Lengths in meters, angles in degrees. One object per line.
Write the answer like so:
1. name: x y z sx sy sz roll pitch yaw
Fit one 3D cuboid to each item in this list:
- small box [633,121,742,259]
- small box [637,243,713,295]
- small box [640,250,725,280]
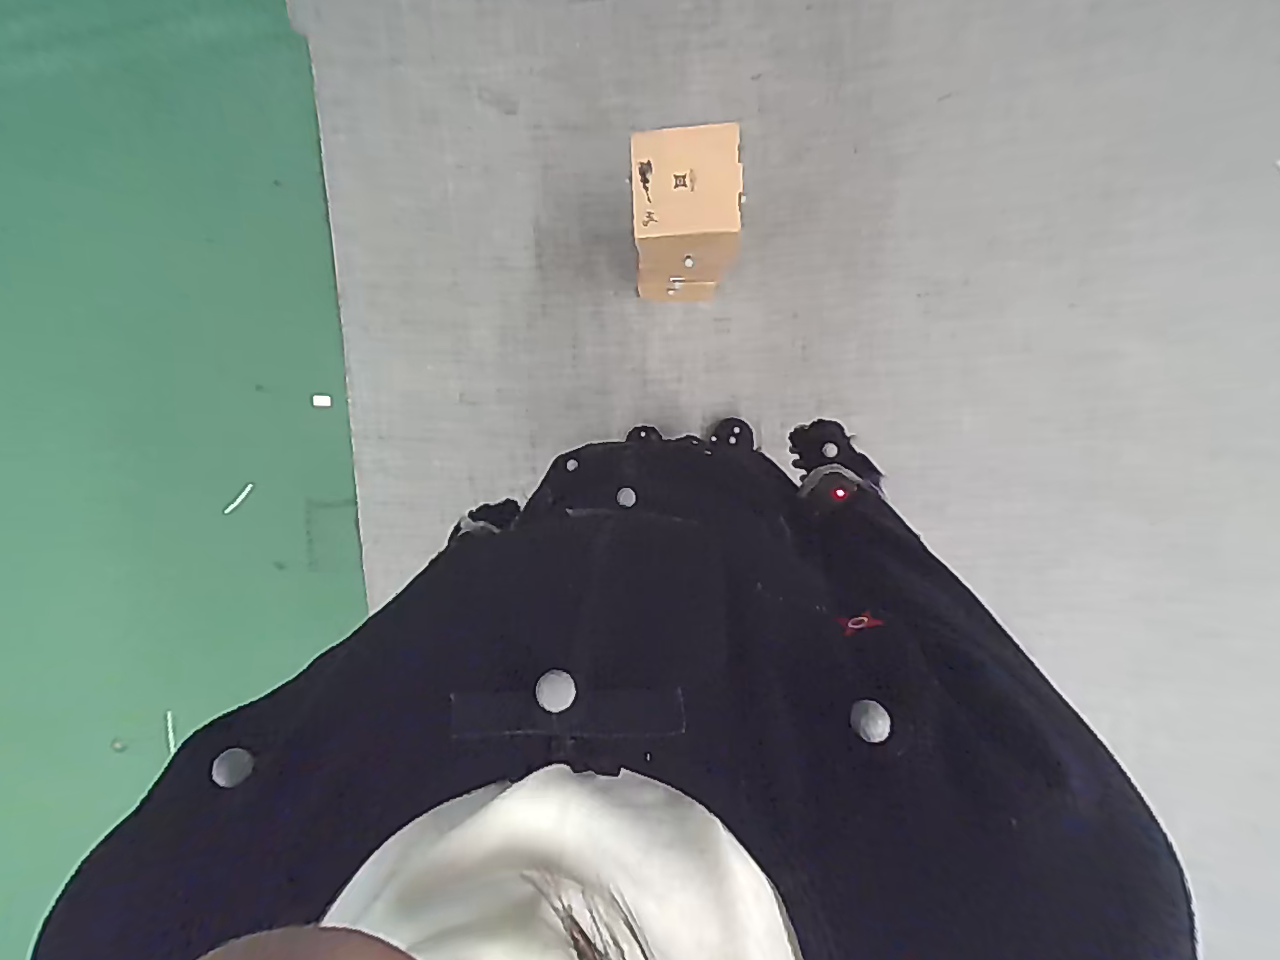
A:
1. small box: 0.082 -0.500 0.953 0.179 0.176 0.168 -1 97 5
2. small box: 0.087 -0.539 1.277 0.179 0.176 0.168 0 97 4
3. small box: 0.087 -0.524 1.116 0.168 0.176 0.179 -1 98 6
